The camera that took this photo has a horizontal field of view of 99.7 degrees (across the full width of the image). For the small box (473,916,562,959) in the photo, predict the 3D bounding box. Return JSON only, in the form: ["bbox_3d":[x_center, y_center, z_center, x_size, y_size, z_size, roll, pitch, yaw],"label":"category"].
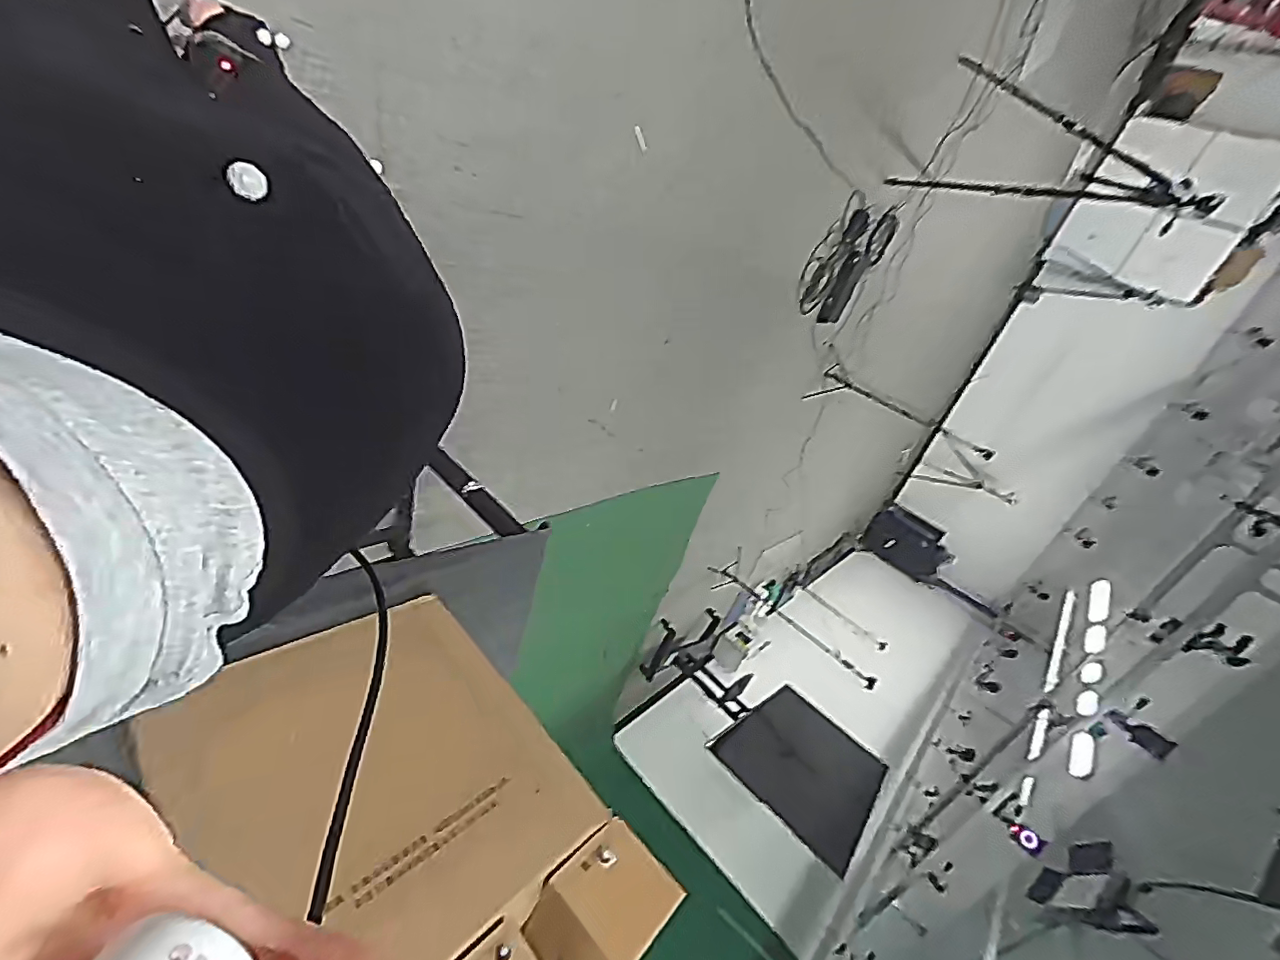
[{"bbox_3d":[-0.185,0.754,0.735,0.168,0.176,0.179,-16,134,-48],"label":"small box"}]

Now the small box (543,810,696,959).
[{"bbox_3d":[-0.040,0.709,0.910,0.168,0.176,0.179,-17,133,-51],"label":"small box"}]
